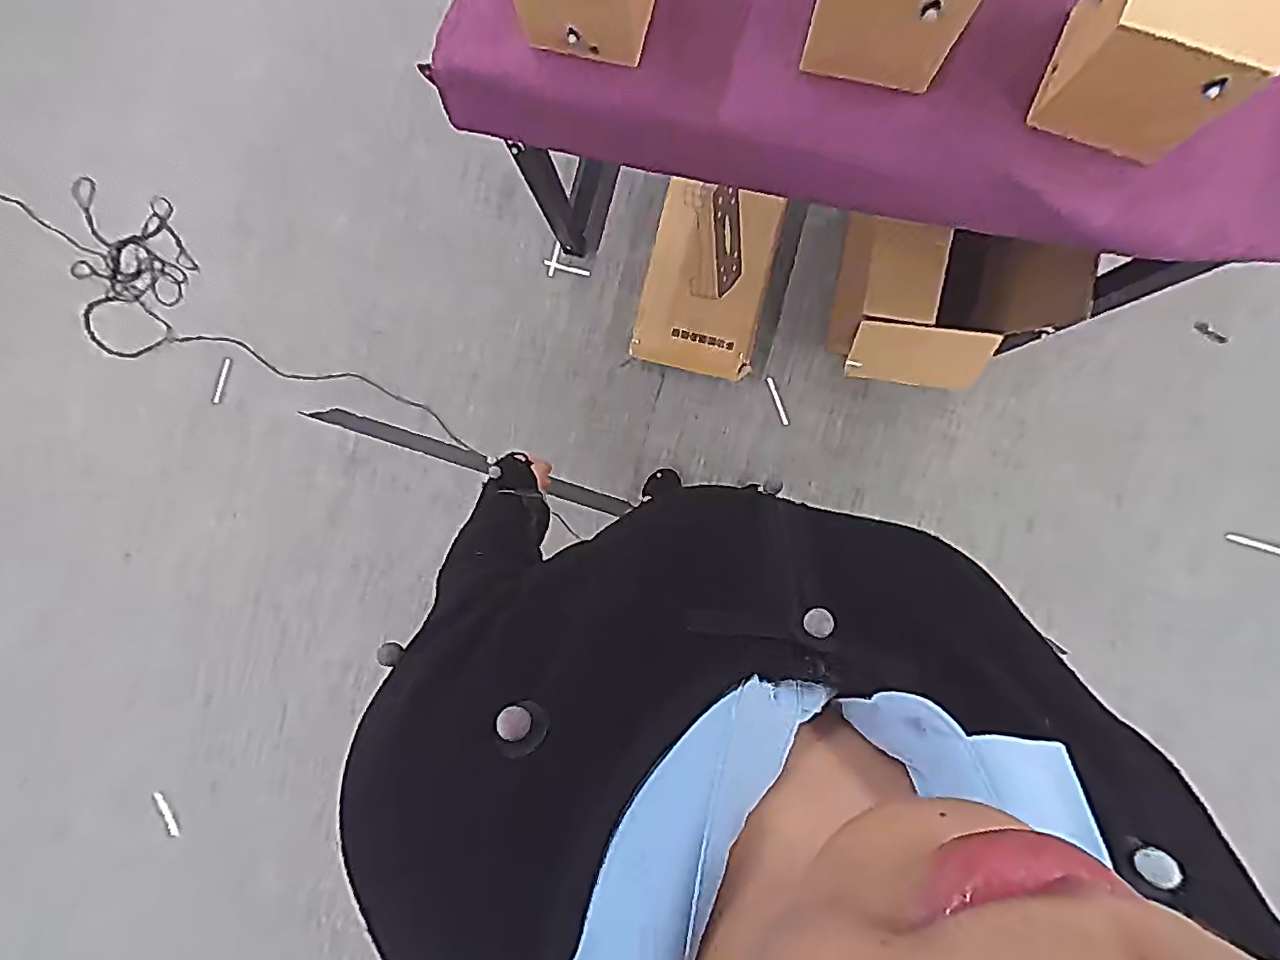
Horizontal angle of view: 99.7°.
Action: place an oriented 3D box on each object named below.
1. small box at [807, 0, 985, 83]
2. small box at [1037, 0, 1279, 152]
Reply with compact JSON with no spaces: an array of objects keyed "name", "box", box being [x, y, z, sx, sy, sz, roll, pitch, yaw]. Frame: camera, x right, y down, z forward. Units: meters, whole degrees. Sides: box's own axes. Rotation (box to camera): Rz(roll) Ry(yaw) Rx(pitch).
[{"name":"small box","box":[0.325,-0.632,0.660,0.179,0.176,0.168,14,89,4]},{"name":"small box","box":[0.626,-0.529,0.638,0.179,0.176,0.168,22,92,4]}]
